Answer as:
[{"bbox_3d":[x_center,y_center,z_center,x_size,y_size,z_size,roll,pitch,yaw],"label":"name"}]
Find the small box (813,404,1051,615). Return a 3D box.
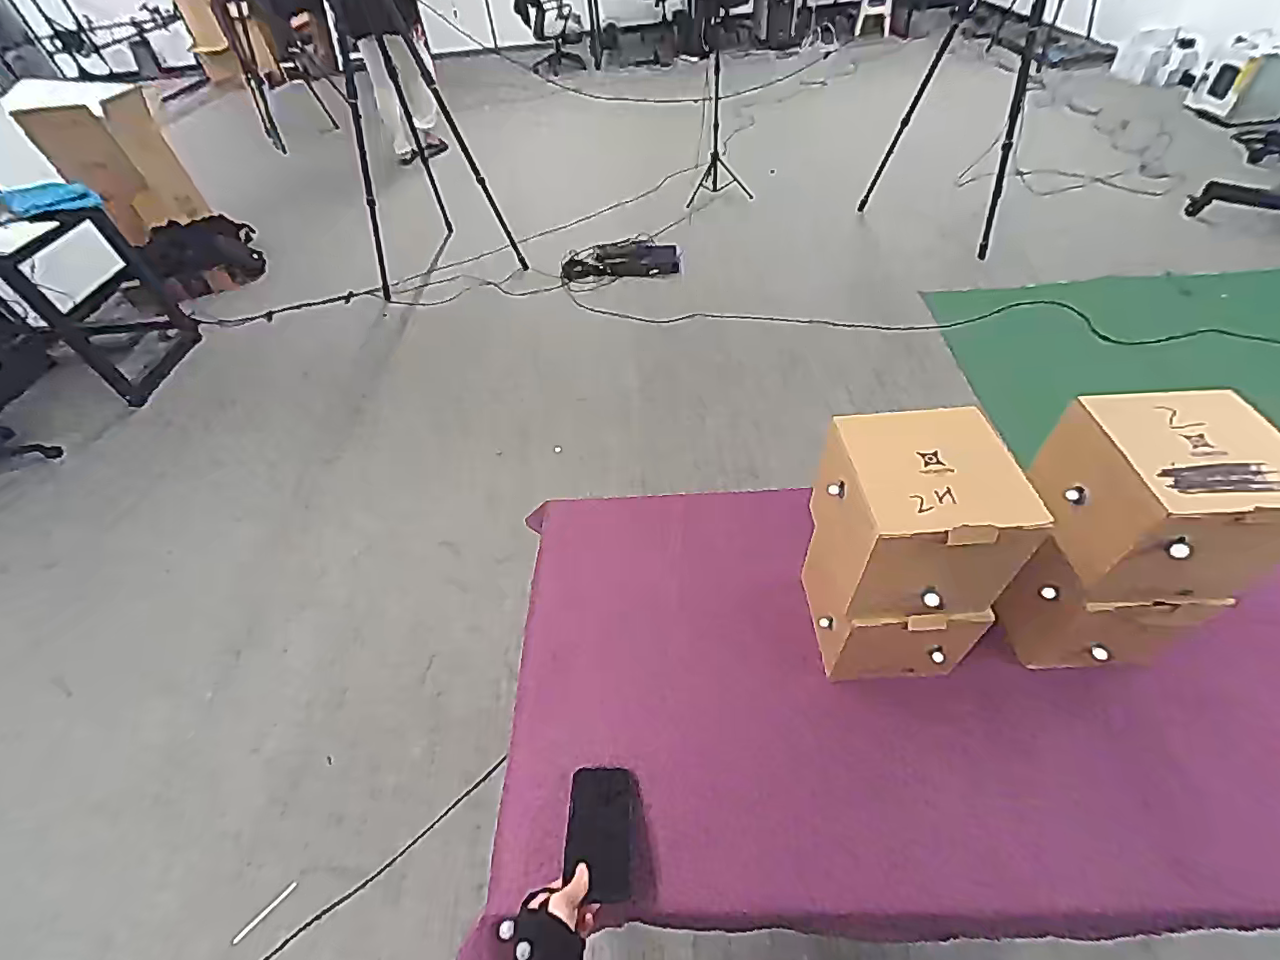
[{"bbox_3d":[0.310,0.035,0.625,0.168,0.176,0.179,-5,48,3],"label":"small box"}]

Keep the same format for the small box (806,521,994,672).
[{"bbox_3d":[0.335,0.152,0.741,0.168,0.176,0.179,-4,48,3],"label":"small box"}]

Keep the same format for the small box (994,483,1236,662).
[{"bbox_3d":[0.599,0.126,0.730,0.168,0.176,0.179,-4,49,3],"label":"small box"}]
